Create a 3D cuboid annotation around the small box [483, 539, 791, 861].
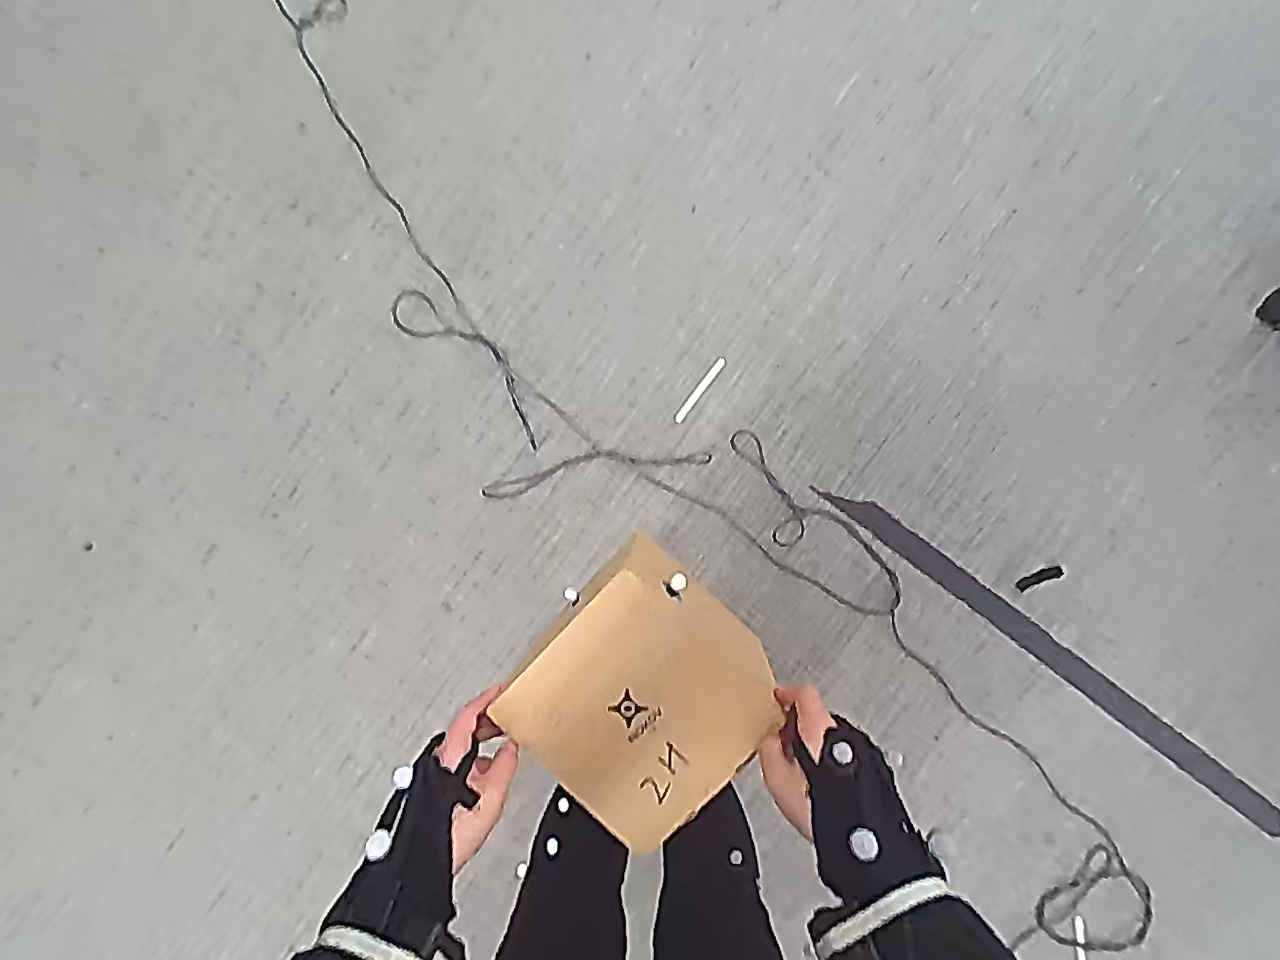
[{"bbox_3d":[0.000,0.170,0.484,0.179,0.176,0.168,44,96,-1],"label":"small box"}]
